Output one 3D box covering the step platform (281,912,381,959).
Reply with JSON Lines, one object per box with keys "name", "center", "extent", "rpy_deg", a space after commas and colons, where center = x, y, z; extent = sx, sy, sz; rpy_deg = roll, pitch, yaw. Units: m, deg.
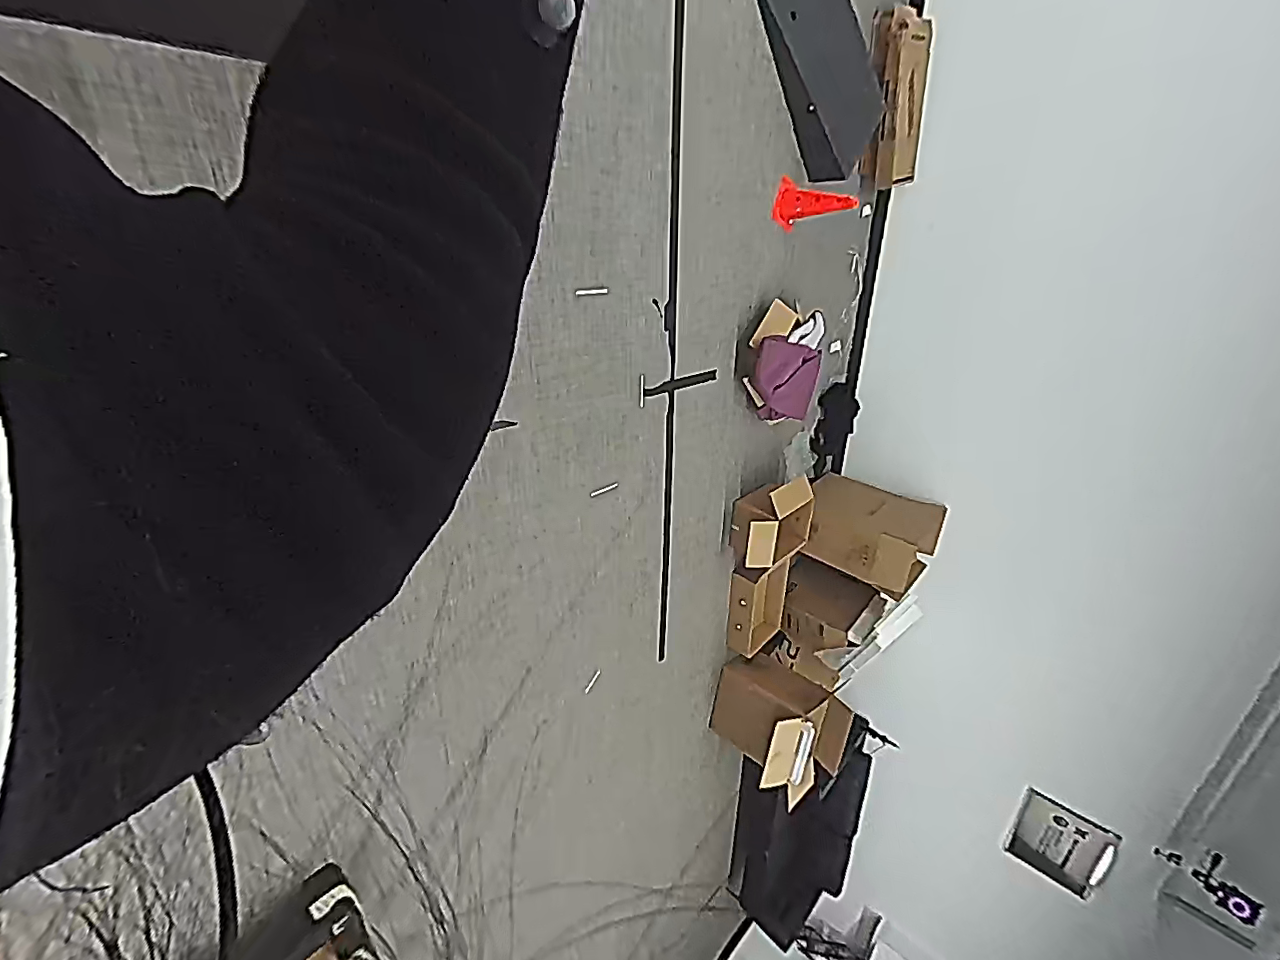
{"name": "step platform", "center": [-1.070, 1.576, 1.477], "extent": [0.684, 0.204, 0.286], "rpy_deg": [-25, 126, -40]}
